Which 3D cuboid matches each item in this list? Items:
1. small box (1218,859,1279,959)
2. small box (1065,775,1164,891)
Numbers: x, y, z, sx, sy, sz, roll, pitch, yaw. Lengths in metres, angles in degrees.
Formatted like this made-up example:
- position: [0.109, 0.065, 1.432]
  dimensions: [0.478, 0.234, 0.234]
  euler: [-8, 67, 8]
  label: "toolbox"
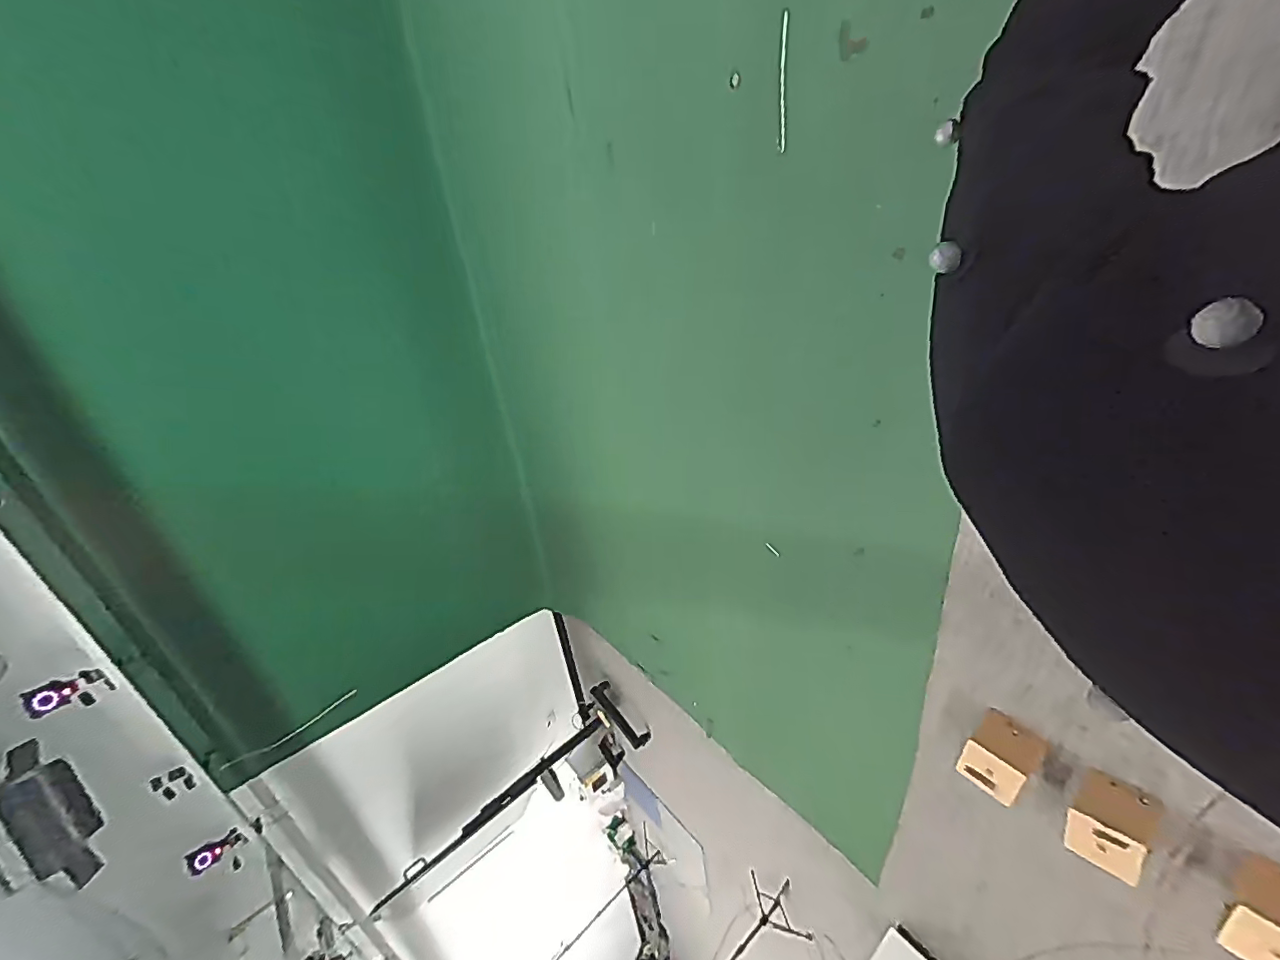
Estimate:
- position: [1.518, 1.057, 1.272]
  dimensions: [0.168, 0.176, 0.179]
  euler: [21, 128, 48]
  label: "small box"
- position: [1.320, 0.971, 1.505]
  dimensions: [0.168, 0.176, 0.179]
  euler: [17, 127, 51]
  label: "small box"
